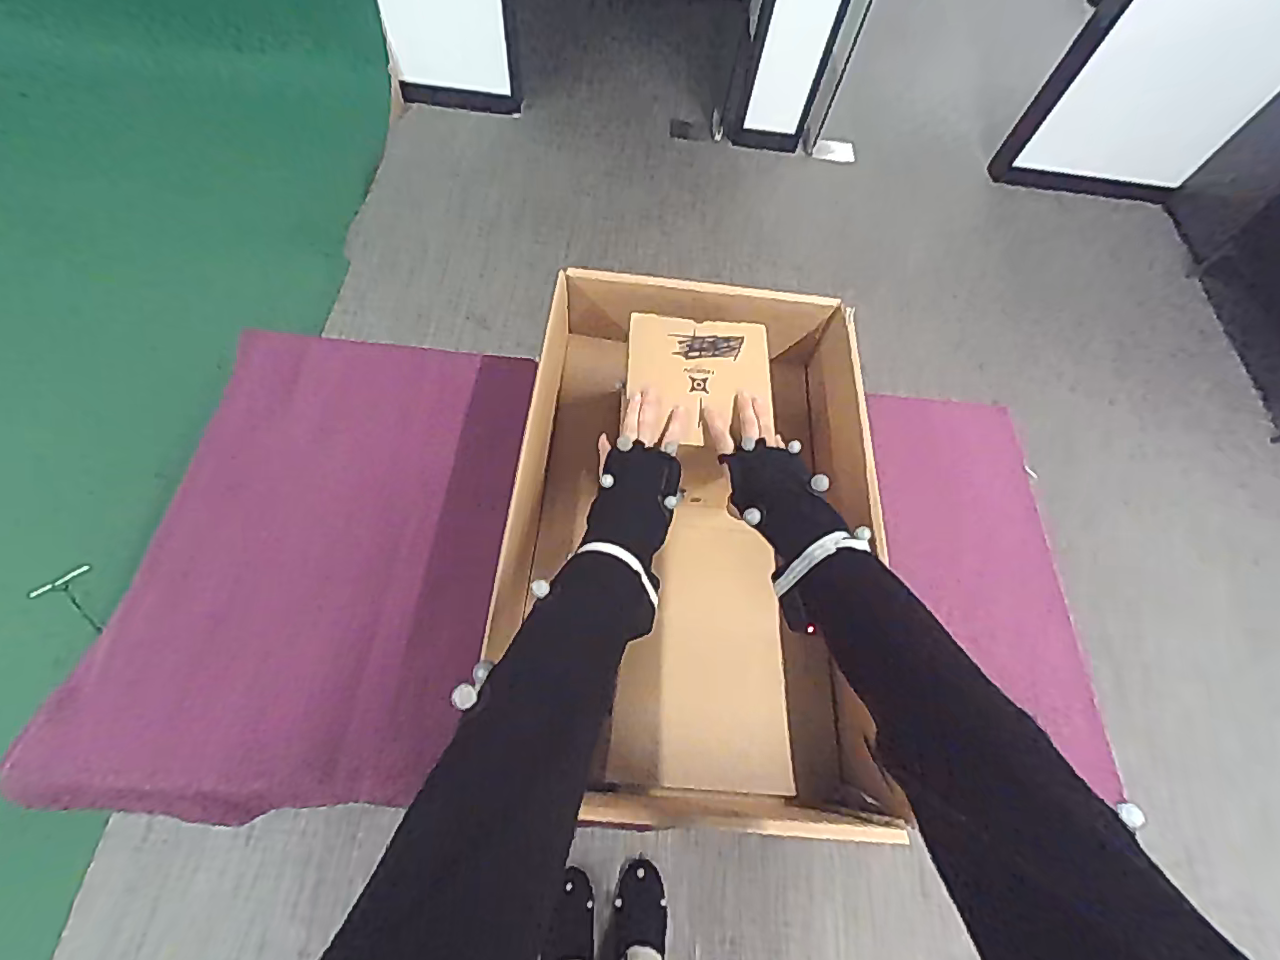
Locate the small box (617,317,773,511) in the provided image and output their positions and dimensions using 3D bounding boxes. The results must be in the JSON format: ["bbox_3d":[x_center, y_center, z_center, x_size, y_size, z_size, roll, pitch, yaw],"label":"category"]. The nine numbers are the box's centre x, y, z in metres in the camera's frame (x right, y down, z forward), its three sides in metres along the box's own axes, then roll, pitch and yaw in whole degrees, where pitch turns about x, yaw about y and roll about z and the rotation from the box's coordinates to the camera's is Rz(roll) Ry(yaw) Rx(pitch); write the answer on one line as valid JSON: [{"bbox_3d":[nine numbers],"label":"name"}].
[{"bbox_3d":[0.058,-0.076,0.684,0.168,0.176,0.179,3,66,-4],"label":"small box"}]
